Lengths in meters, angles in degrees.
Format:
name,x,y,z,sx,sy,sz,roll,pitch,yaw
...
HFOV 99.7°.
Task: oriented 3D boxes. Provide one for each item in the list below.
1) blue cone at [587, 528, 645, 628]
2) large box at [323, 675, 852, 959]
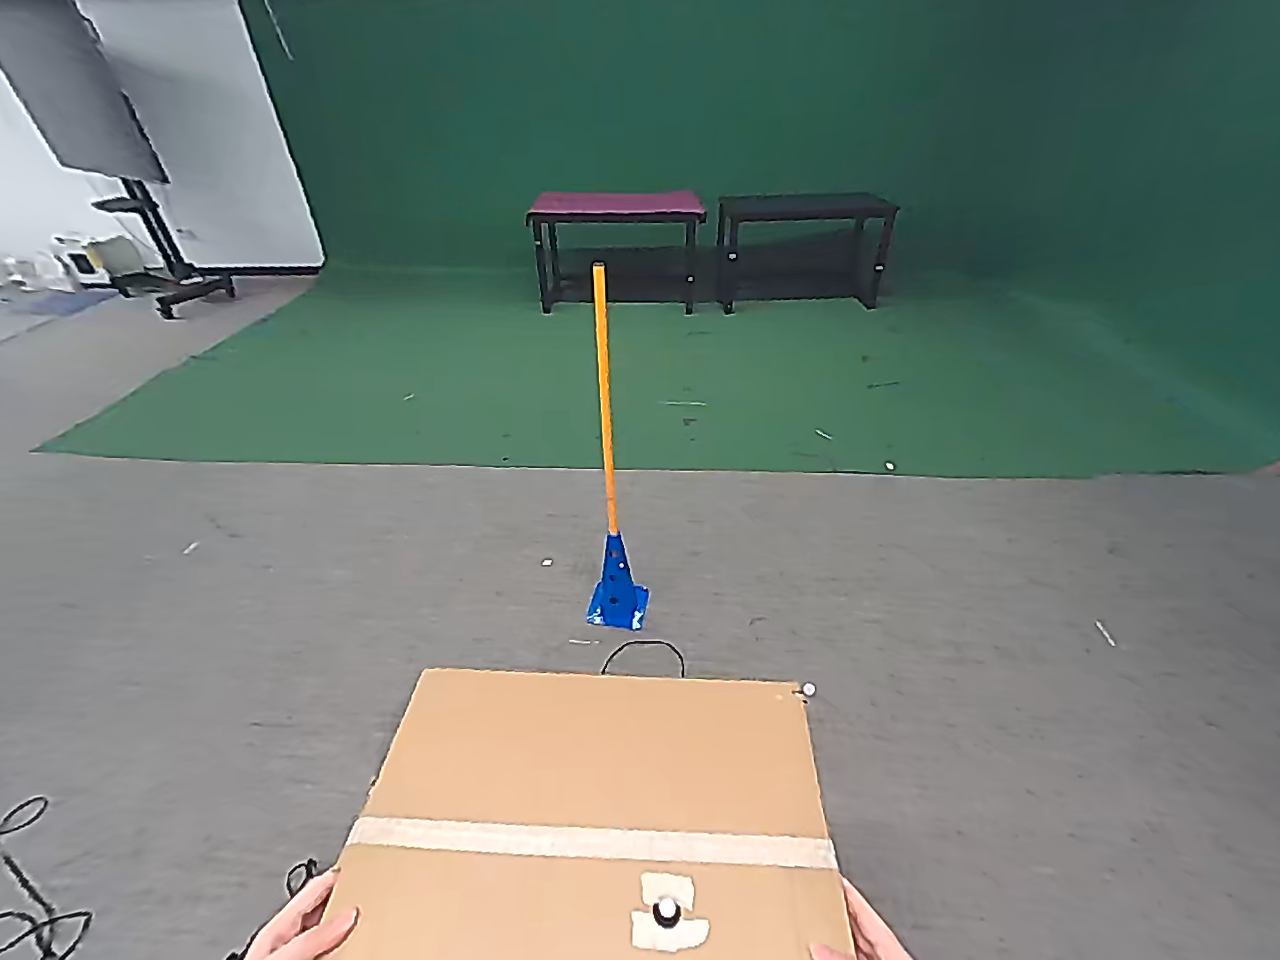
name,x,y,z,sx,sy,sz,roll,pitch,yaw
blue cone,-0.088,0.325,1.868,0.193,0.380,0.192,7,37,10
large box,-0.038,0.429,0.555,0.408,0.320,0.320,2,39,2
